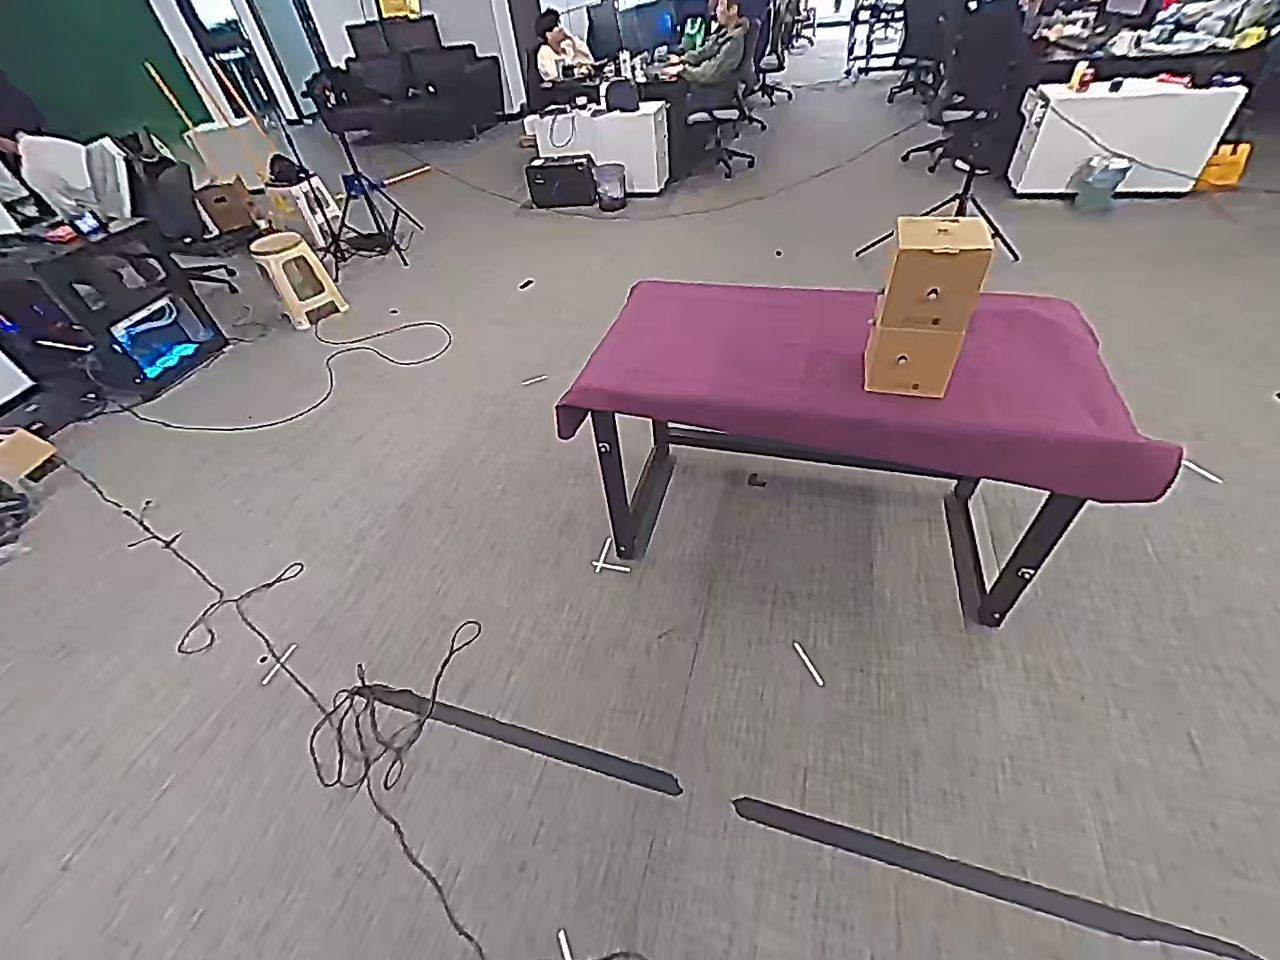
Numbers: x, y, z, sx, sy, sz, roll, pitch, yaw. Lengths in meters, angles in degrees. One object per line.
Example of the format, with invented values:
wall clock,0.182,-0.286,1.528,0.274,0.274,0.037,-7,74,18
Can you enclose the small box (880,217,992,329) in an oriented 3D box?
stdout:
small box,0.607,-0.430,1.127,0.168,0.176,0.179,9,46,16

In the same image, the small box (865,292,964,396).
small box,0.619,-0.310,1.238,0.168,0.176,0.179,8,46,15
